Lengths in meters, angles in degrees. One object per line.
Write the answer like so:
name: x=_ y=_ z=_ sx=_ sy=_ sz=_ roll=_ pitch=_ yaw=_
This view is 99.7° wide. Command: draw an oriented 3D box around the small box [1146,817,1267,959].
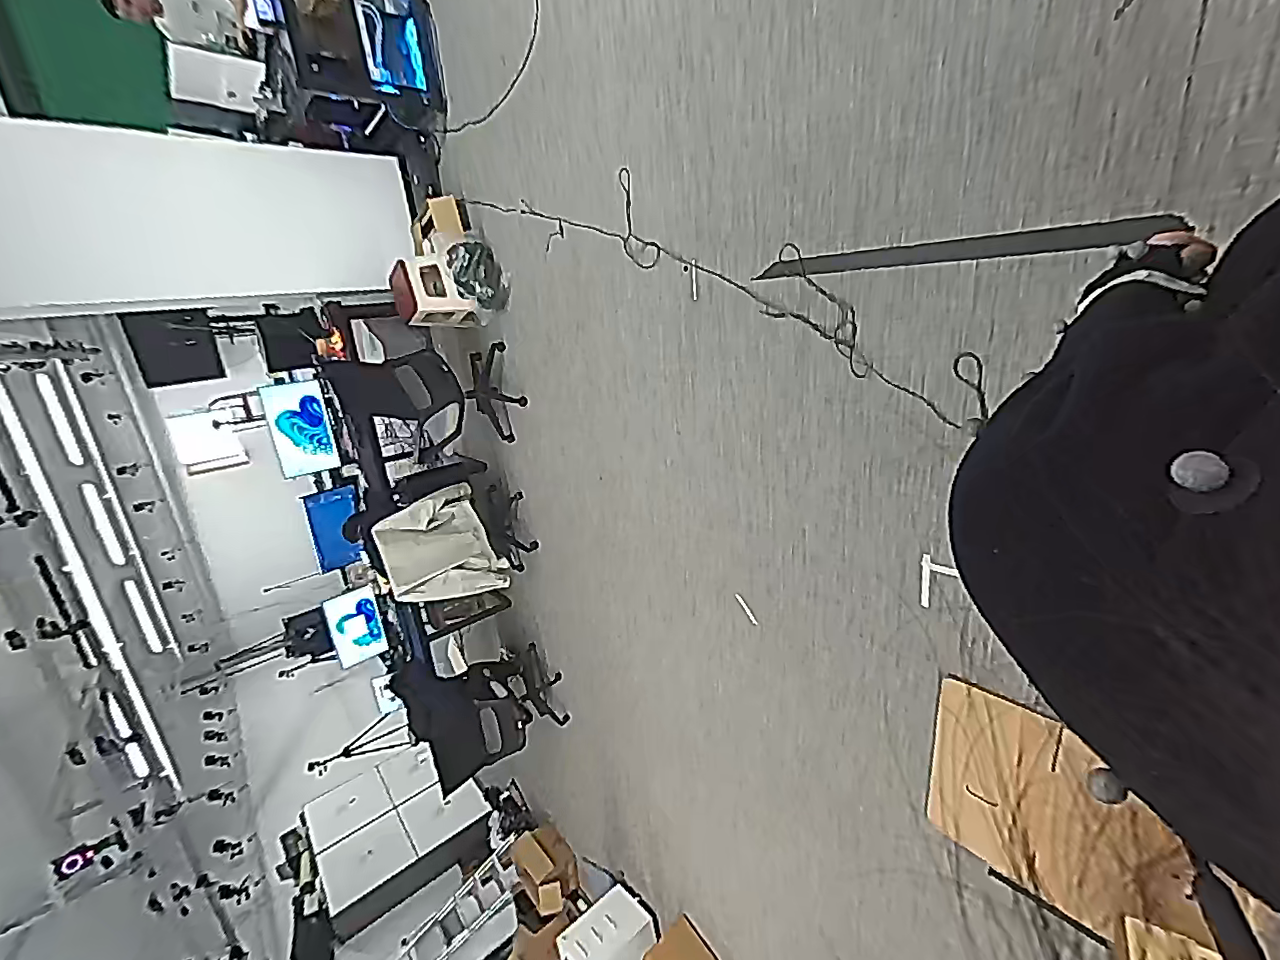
small box: x=1.244 y=0.893 z=1.187 sx=0.168 sy=0.176 sz=0.179 roll=-4 pitch=101 yaw=53

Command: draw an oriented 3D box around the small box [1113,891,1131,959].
small box: x=1.256 y=1.154 z=1.291 sx=0.168 sy=0.176 sz=0.179 roll=3 pitch=107 yaw=51

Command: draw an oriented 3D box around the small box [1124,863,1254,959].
small box: x=1.115 y=0.942 z=1.096 sx=0.168 sy=0.176 sz=0.179 roll=-4 pitch=102 yaw=51
